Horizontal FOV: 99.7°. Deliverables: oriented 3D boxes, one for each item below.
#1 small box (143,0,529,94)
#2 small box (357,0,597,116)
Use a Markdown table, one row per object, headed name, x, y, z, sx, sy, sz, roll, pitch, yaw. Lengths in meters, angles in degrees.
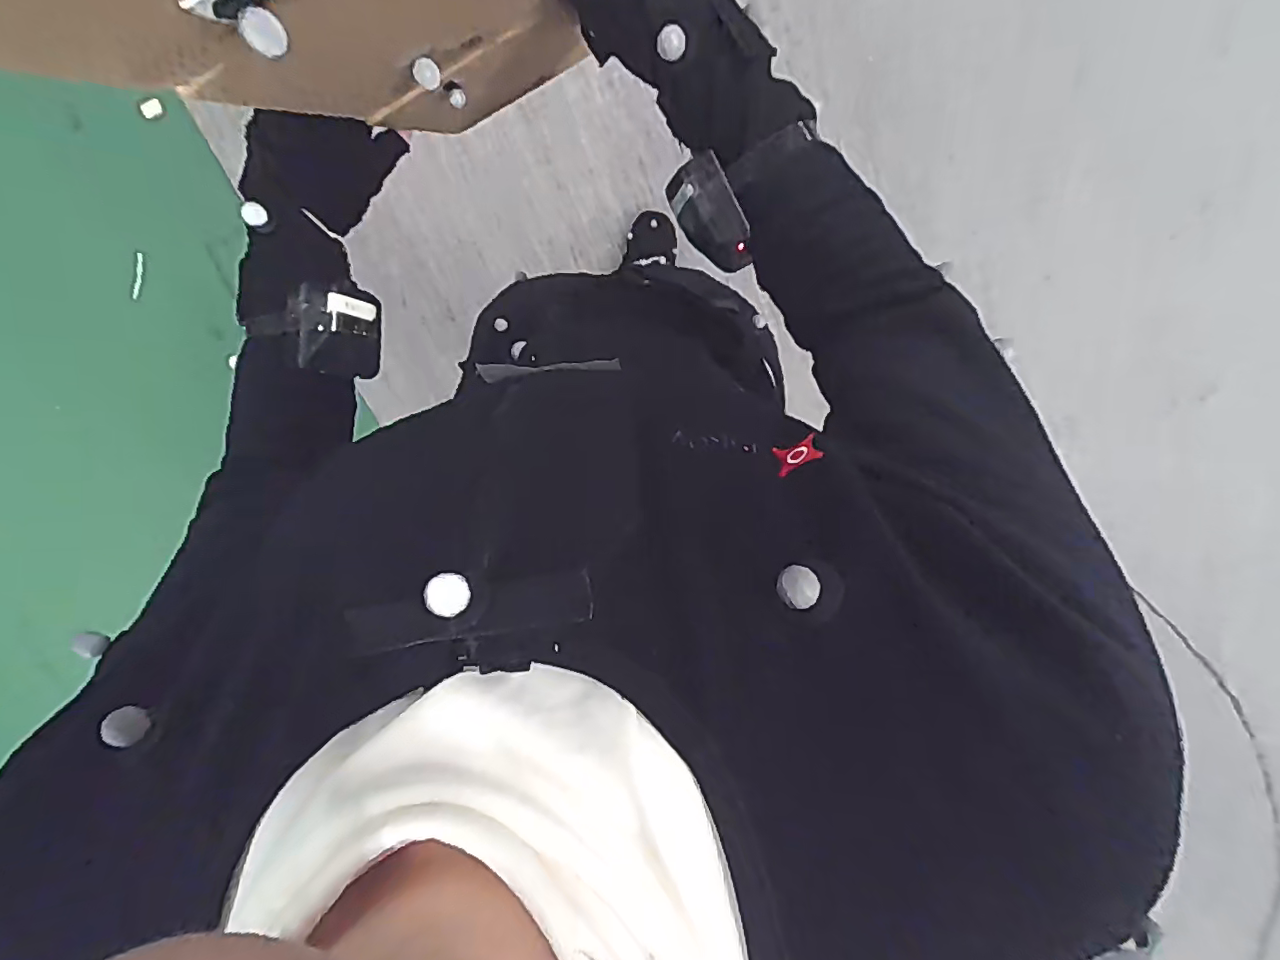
| name | x | y | z | sx | sy | sz | roll | pitch | yaw |
| --- | --- | --- | --- | --- | --- | --- | --- | --- | --- |
| small box | -0.167 | -0.323 | 0.258 | 0.168 | 0.176 | 0.179 | -18 | 117 | 16 |
| small box | -0.150 | -0.405 | 0.401 | 0.168 | 0.176 | 0.179 | -19 | 117 | 17 |
